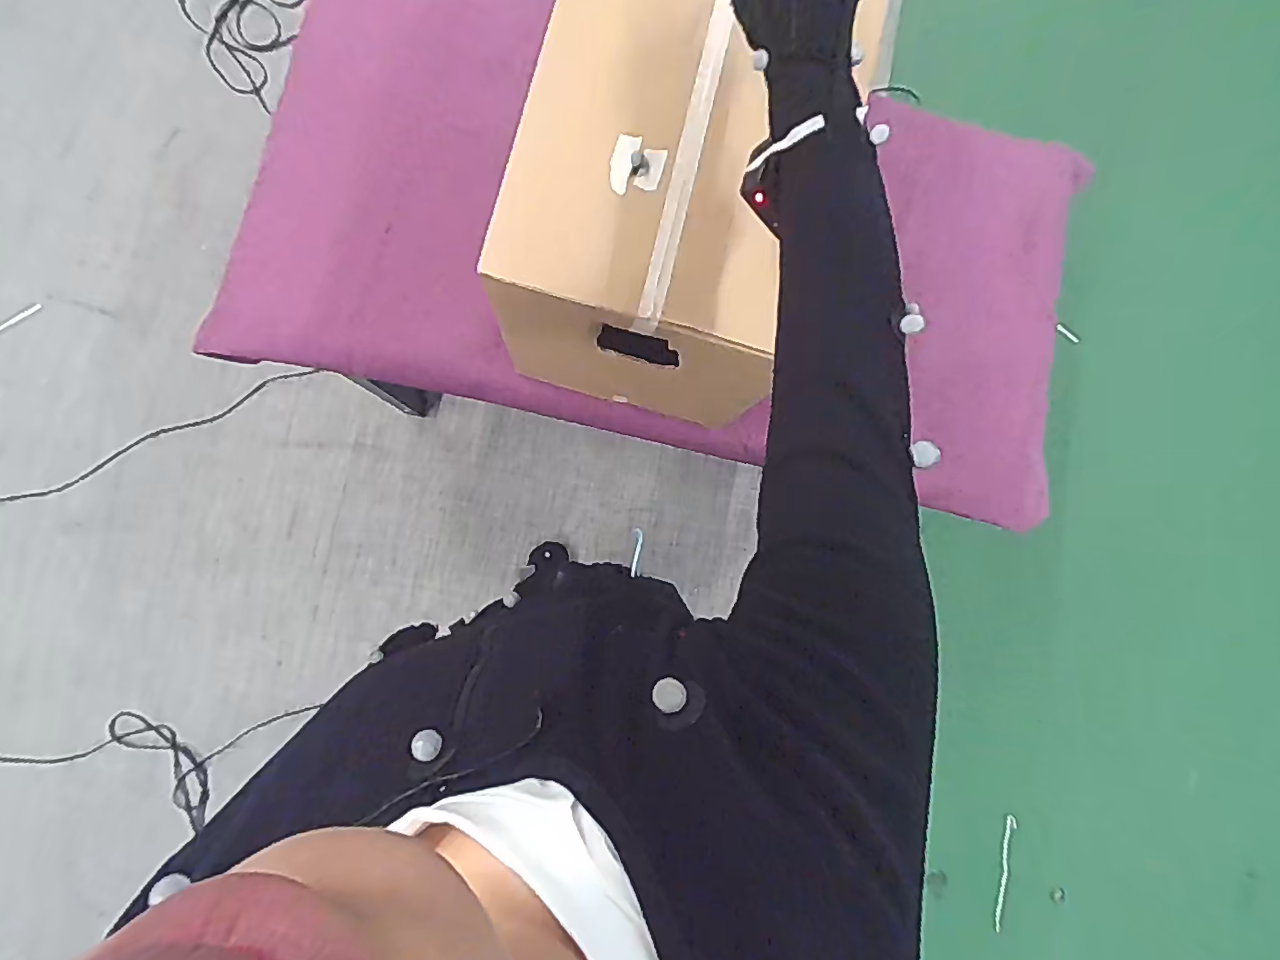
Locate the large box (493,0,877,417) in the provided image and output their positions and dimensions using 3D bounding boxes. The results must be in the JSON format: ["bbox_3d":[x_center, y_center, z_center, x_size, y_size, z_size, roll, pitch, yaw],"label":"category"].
[{"bbox_3d":[0.037,-0.331,0.671,0.320,0.320,0.408,15,84,-5],"label":"large box"}]
